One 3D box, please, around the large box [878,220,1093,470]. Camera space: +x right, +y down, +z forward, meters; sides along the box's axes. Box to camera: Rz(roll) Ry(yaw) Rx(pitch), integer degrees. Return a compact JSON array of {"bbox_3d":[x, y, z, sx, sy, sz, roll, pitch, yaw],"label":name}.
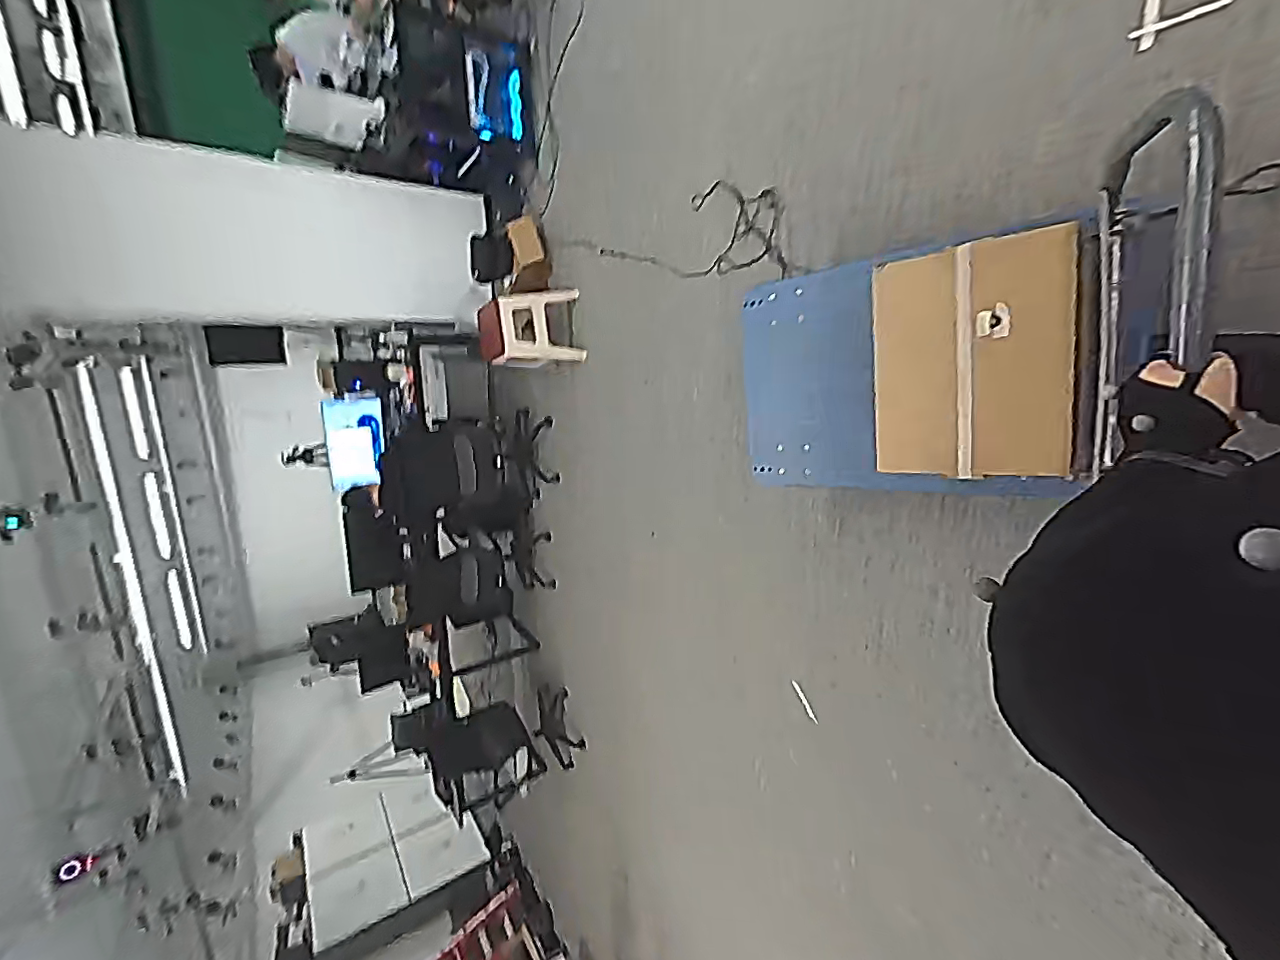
[{"bbox_3d":[0.692,-0.238,1.076,0.320,0.320,0.408,1,100,41],"label":"large box"}]
